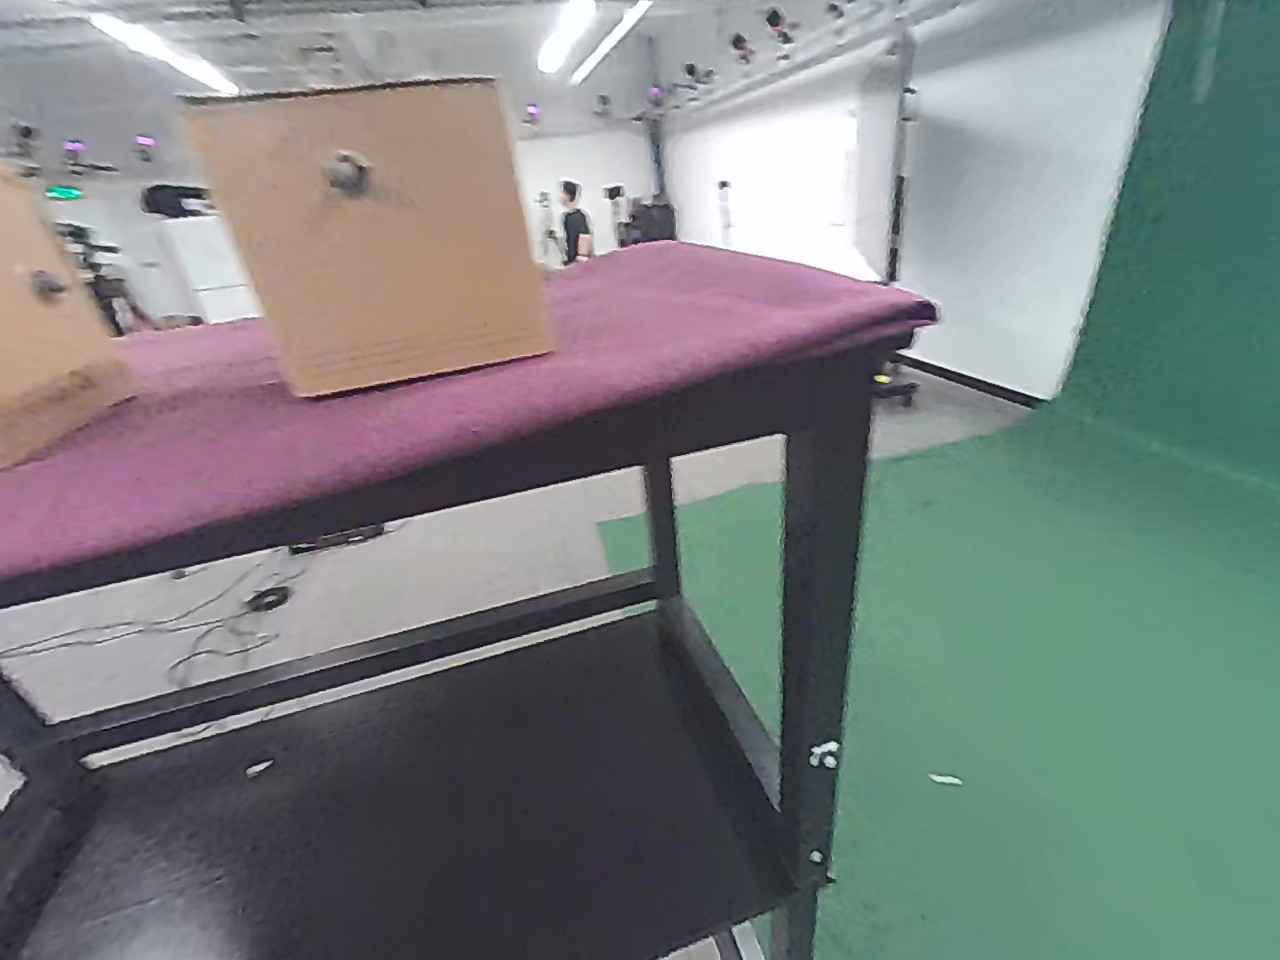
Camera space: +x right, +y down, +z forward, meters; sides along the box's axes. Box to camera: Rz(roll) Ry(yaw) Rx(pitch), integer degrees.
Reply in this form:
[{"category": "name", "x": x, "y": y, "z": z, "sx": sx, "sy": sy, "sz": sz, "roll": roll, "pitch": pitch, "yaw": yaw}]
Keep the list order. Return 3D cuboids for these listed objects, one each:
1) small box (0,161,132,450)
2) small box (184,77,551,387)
[{"category": "small box", "x": -0.476, "y": -0.092, "z": 0.325, "sx": 0.179, "sy": 0.176, "sz": 0.168, "roll": -15, "pitch": 28, "yaw": -13}, {"category": "small box", "x": -0.177, "y": -0.178, "z": 0.414, "sx": 0.179, "sy": 0.176, "sz": 0.168, "roll": -13, "pitch": 26, "yaw": -10}]
